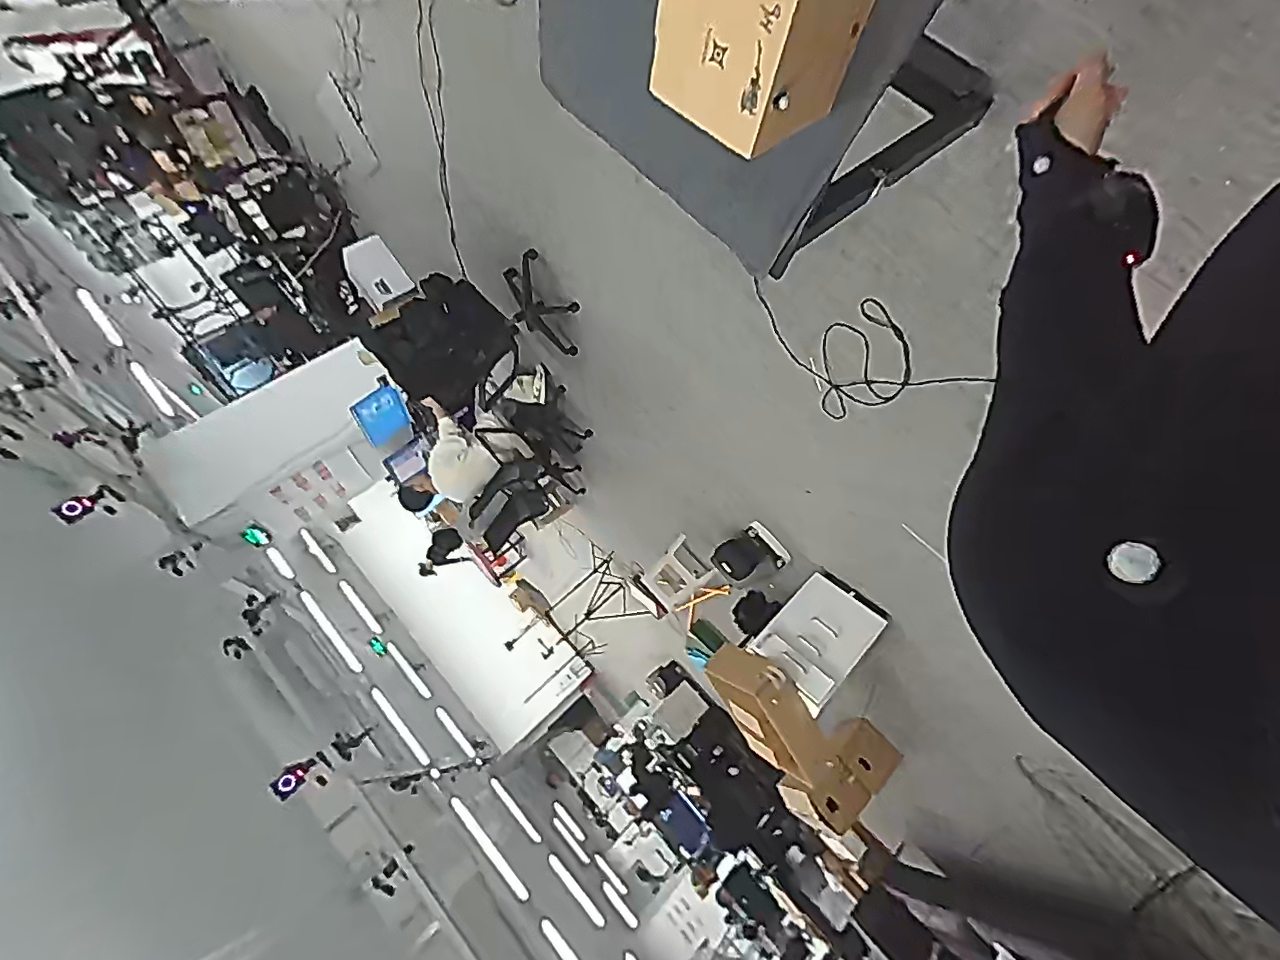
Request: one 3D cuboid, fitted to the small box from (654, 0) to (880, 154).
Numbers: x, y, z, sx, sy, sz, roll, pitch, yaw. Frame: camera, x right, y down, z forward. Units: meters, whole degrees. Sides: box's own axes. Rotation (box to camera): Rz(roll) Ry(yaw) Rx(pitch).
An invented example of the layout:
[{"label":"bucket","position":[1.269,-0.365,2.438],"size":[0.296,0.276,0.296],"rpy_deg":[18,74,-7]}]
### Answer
[{"label":"small box","position":[0.145,-0.534,0.637],"size":[0.179,0.176,0.168],"rpy_deg":[45,157,14]}]
